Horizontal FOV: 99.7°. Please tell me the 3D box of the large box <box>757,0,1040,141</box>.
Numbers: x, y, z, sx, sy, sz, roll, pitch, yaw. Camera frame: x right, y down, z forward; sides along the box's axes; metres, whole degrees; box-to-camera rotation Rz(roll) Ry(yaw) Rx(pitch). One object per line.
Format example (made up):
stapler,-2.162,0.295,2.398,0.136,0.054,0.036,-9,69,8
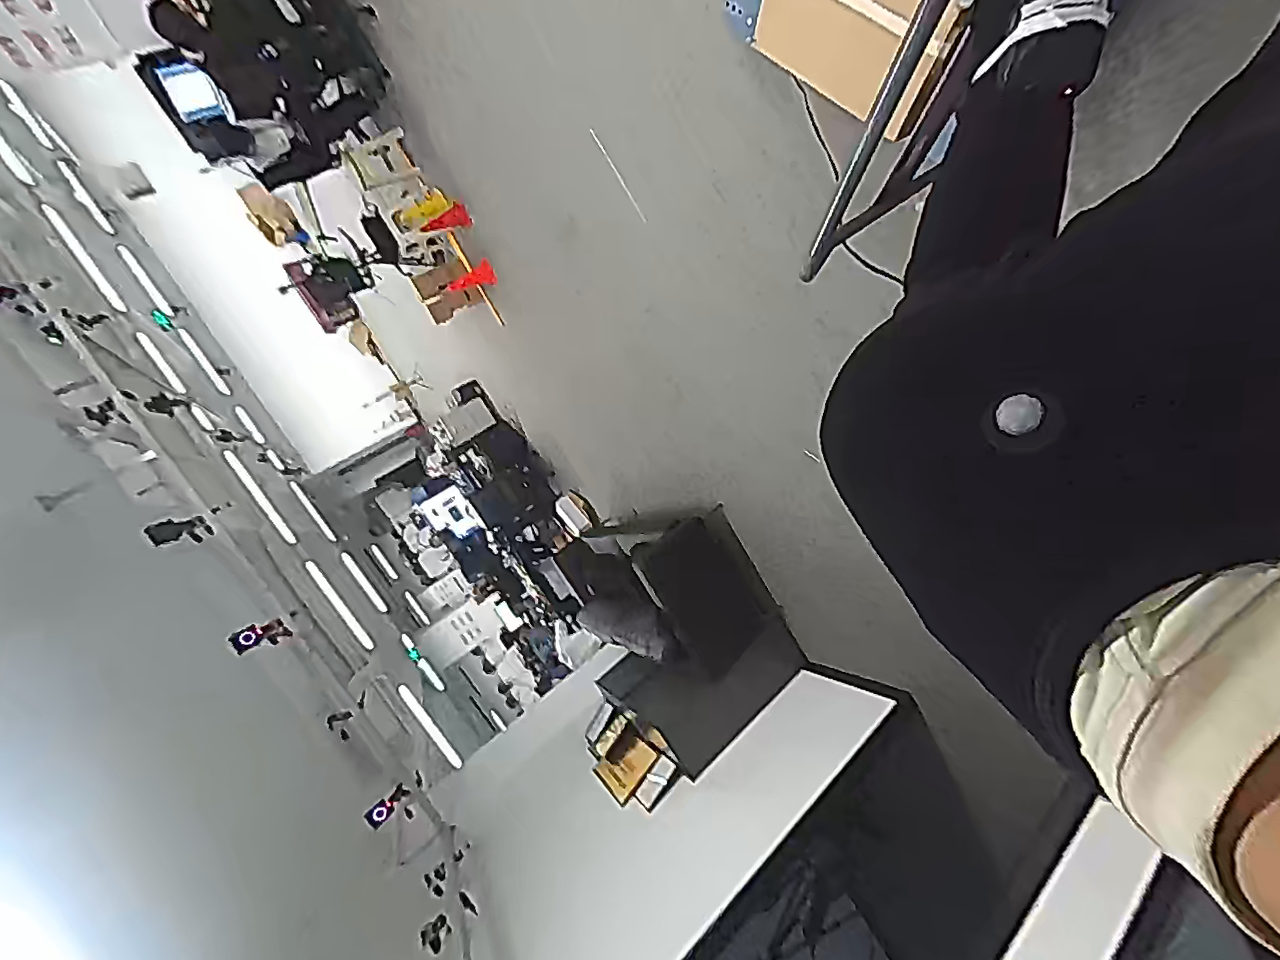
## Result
large box,0.507,-0.942,1.031,0.408,0.320,0.320,49,157,18
